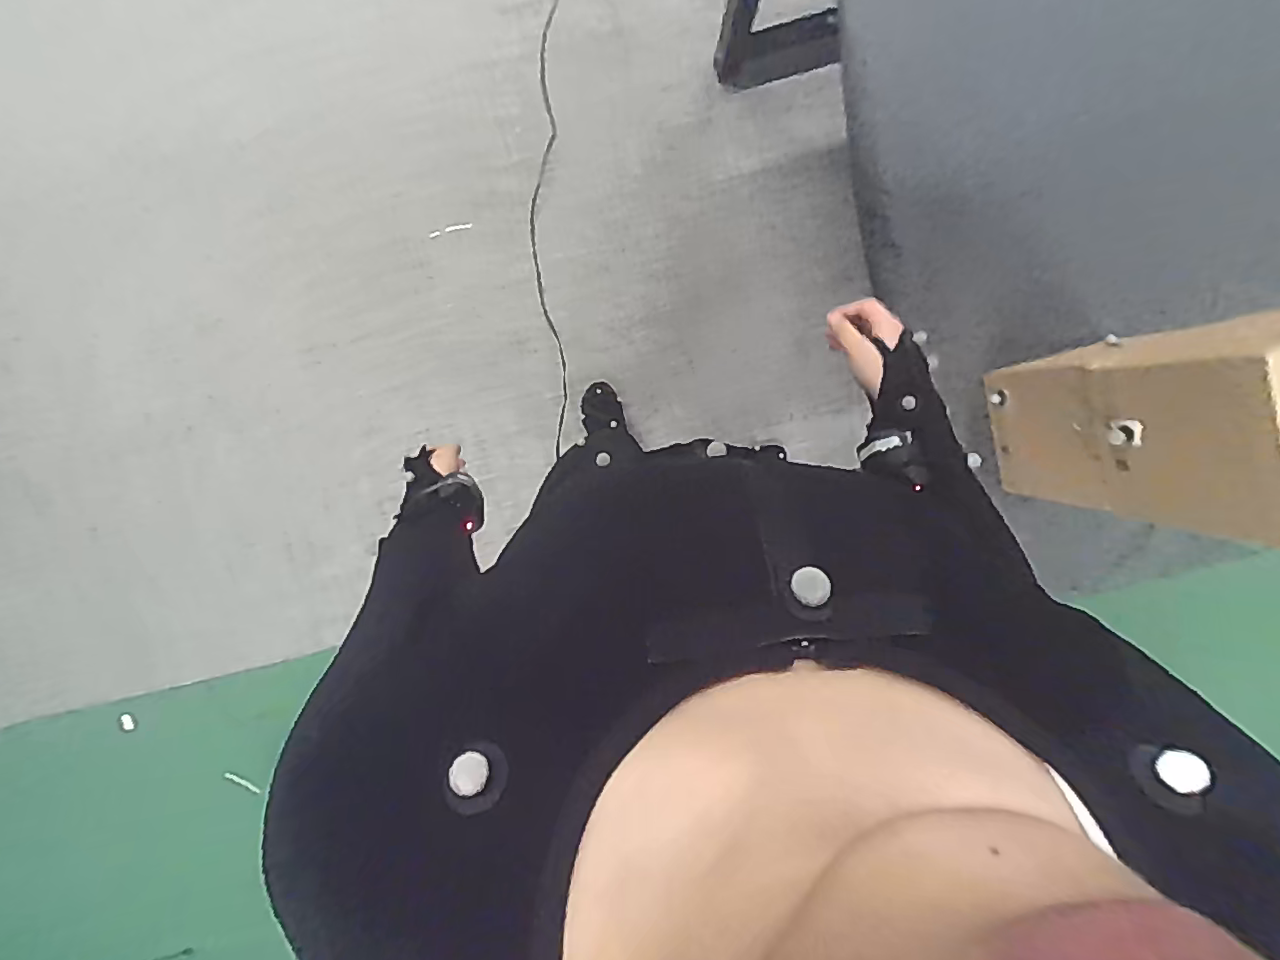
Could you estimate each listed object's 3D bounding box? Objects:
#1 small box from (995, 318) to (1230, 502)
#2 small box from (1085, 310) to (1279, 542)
[{"bbox_3d":[0.566,-0.080,0.653,0.179,0.176,0.168,-15,97,-2],"label":"small box"},{"bbox_3d":[0.568,-0.060,0.491,0.179,0.176,0.168,-18,96,1],"label":"small box"}]
